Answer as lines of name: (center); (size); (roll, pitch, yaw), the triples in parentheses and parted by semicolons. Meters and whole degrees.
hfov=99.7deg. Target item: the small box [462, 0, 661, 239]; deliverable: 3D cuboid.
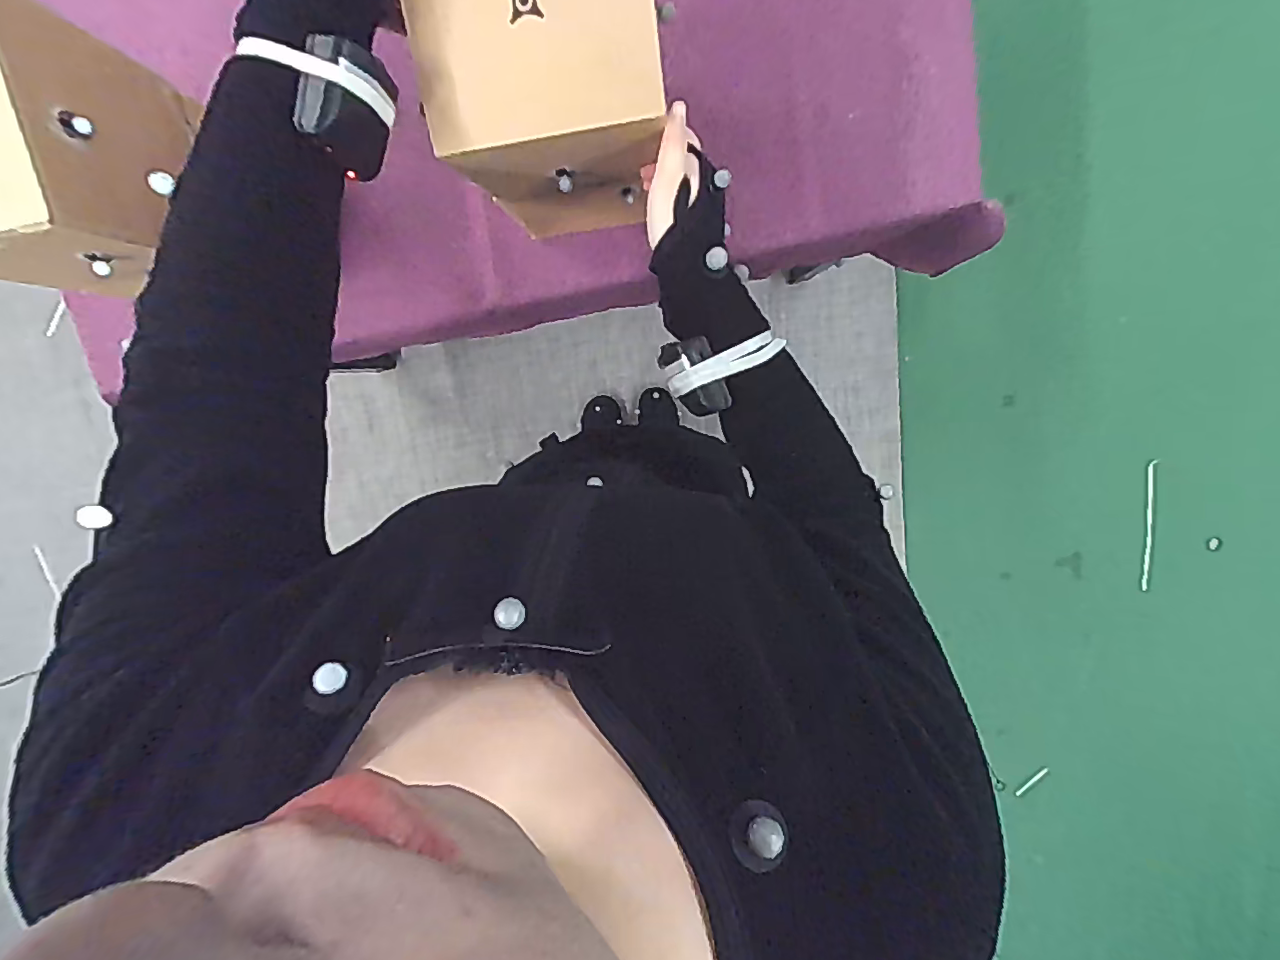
small box: (-0.072, -0.382, 0.601); (0.179, 0.176, 0.168); (-7, 101, 3)

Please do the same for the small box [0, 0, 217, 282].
small box: (-0.522, -0.278, 0.471); (0.168, 0.176, 0.179); (-7, 101, 3)
